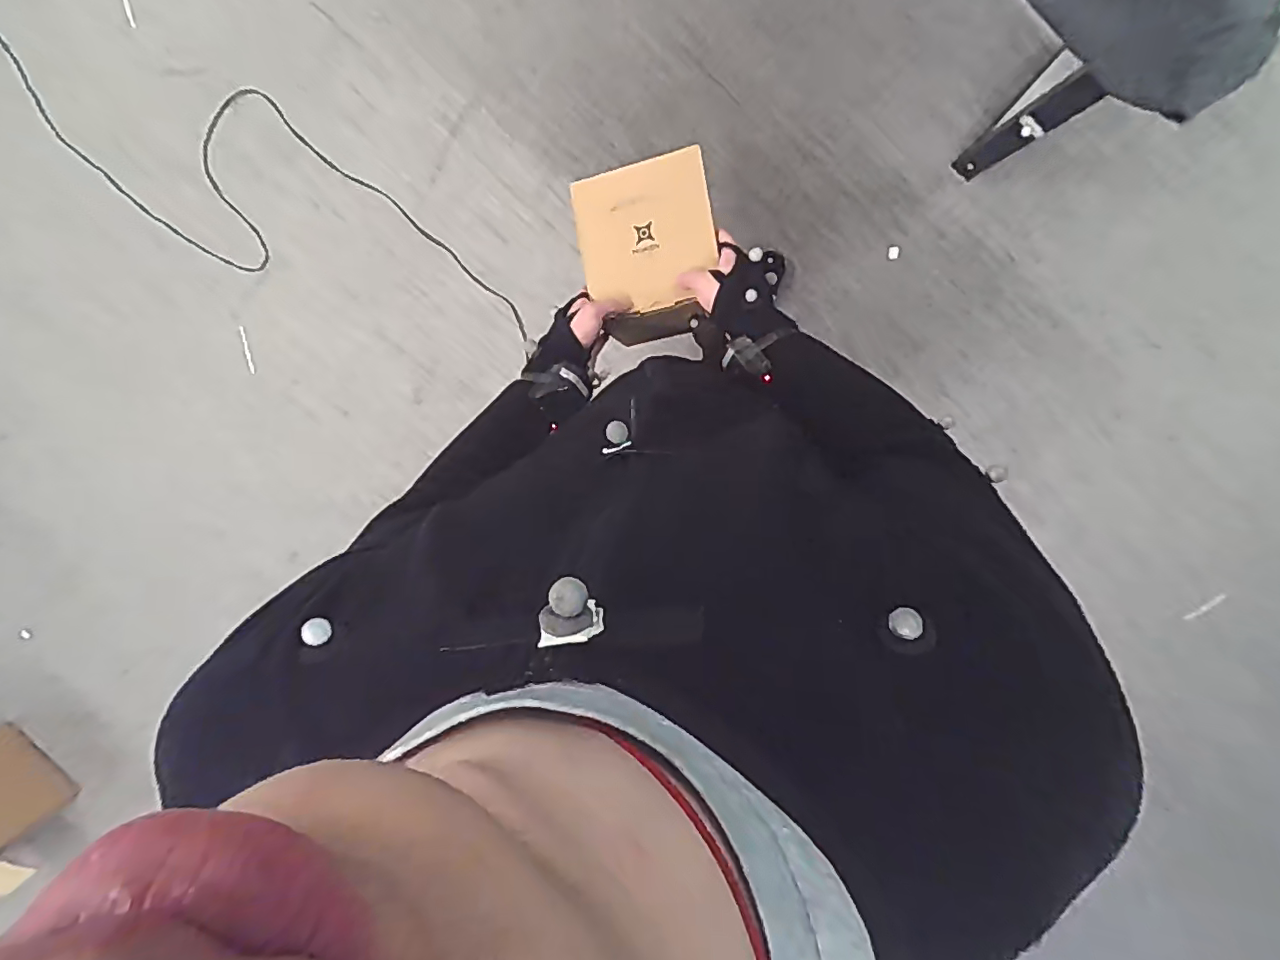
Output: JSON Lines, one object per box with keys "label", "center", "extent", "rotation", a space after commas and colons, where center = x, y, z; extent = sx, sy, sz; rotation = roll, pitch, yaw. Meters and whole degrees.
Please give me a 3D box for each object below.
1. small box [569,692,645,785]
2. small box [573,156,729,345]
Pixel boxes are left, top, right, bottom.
{"label": "small box", "center": [-0.099, 0.825, 1.744], "extent": [0.168, 0.176, 0.179], "rotation": [39, 106, -4]}
{"label": "small box", "center": [0.026, -0.293, 0.741], "extent": [0.168, 0.176, 0.179], "rotation": [-11, 90, 12]}
